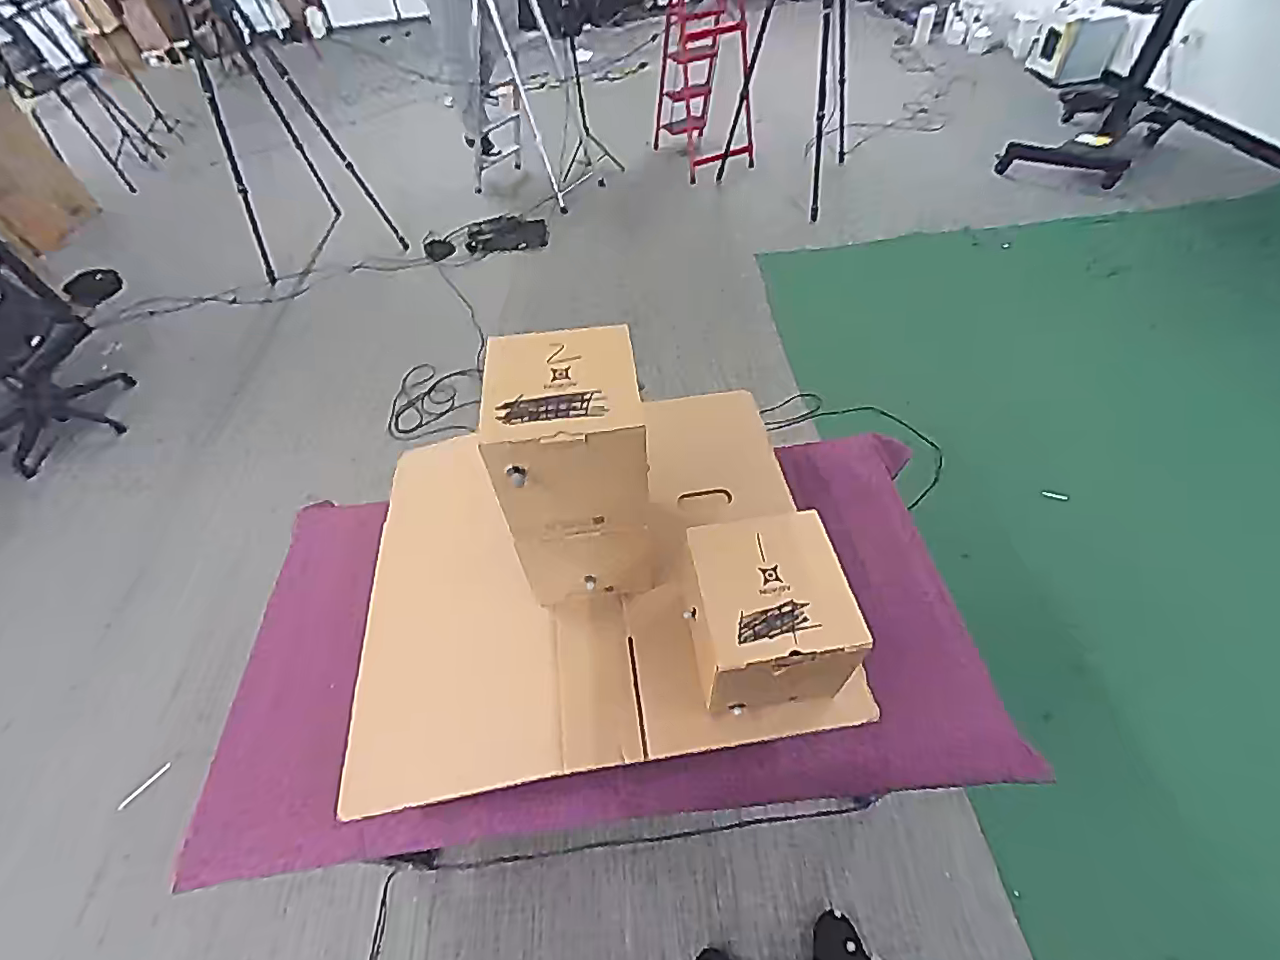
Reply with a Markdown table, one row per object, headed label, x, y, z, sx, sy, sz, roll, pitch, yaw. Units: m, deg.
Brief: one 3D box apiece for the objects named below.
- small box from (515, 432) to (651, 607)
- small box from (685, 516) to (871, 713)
| label | x | y | z | sx | sy | sz | roll | pitch | yaw |
| --- | --- | --- | --- | --- | --- | --- | --- | --- | --- |
| small box | -0.075 | 0.057 | 0.762 | 0.168 | 0.176 | 0.179 | -7 | 52 | -3 |
| small box | 0.151 | 0.170 | 0.660 | 0.168 | 0.176 | 0.179 | -8 | 50 | -3 |
